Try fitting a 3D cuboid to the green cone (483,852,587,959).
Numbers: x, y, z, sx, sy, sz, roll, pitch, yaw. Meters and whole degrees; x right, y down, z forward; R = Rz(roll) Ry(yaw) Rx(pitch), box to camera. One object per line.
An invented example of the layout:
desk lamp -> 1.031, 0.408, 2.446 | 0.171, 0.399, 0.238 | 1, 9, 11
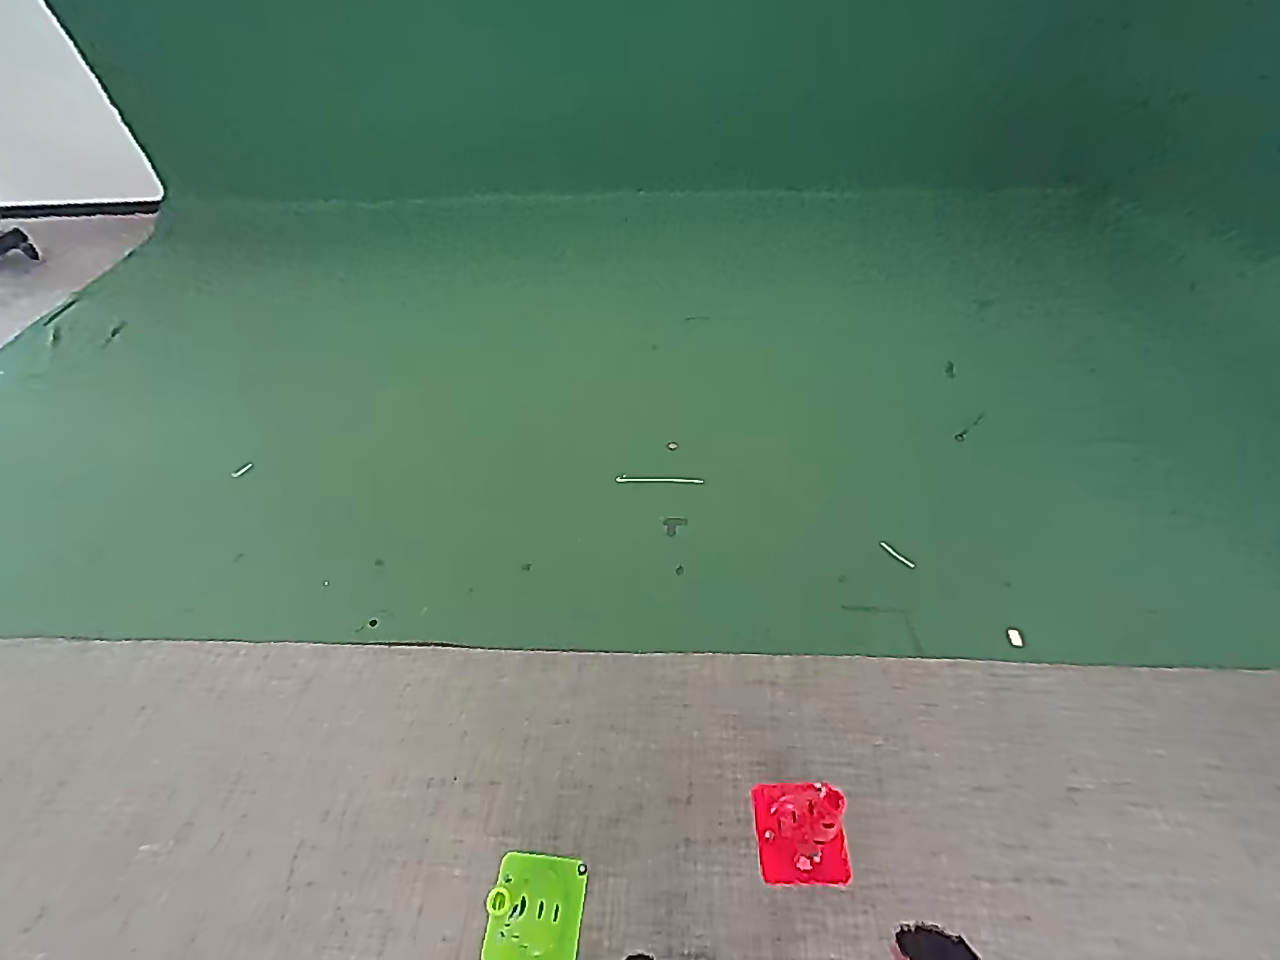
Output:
green cone -> -0.232, 0.823, 1.039 | 0.200, 0.368, 0.202 | 2, 50, 5
